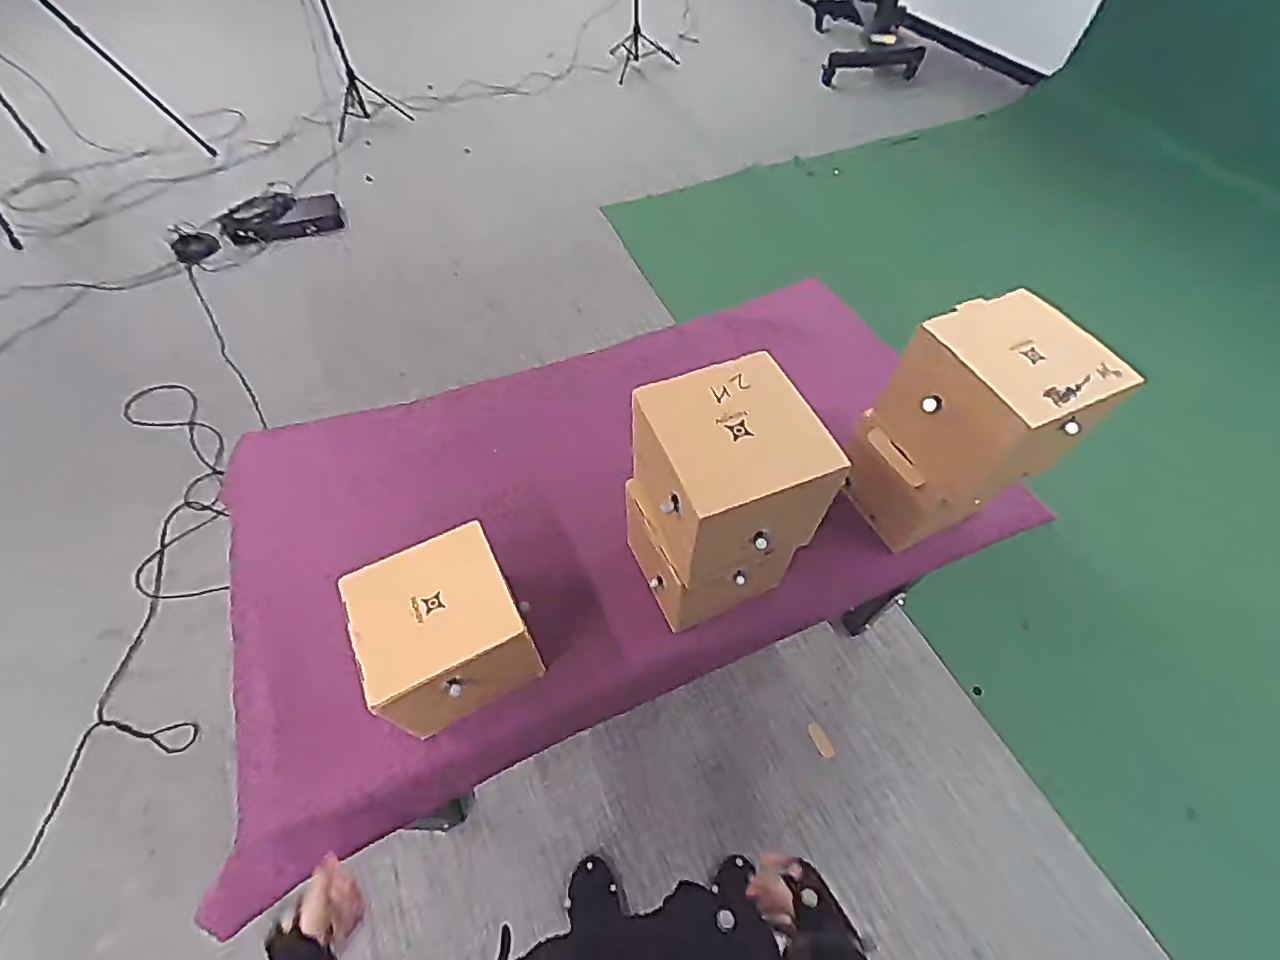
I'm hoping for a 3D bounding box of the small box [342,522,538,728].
[{"bbox_3d":[-0.240,0.188,0.690,0.179,0.176,0.168,-25,59,-15],"label":"small box"}]

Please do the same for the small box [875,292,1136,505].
[{"bbox_3d":[0.434,-0.100,0.680,0.168,0.176,0.179,-21,58,-12],"label":"small box"}]

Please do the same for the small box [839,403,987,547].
[{"bbox_3d":[0.429,-0.023,0.827,0.179,0.176,0.168,-22,60,-14],"label":"small box"}]

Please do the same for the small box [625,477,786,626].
[{"bbox_3d":[0.091,0.080,0.761,0.179,0.176,0.168,-20,58,-13],"label":"small box"}]

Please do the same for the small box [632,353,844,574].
[{"bbox_3d":[0.098,-0.010,0.624,0.168,0.176,0.179,-18,58,-12],"label":"small box"}]
